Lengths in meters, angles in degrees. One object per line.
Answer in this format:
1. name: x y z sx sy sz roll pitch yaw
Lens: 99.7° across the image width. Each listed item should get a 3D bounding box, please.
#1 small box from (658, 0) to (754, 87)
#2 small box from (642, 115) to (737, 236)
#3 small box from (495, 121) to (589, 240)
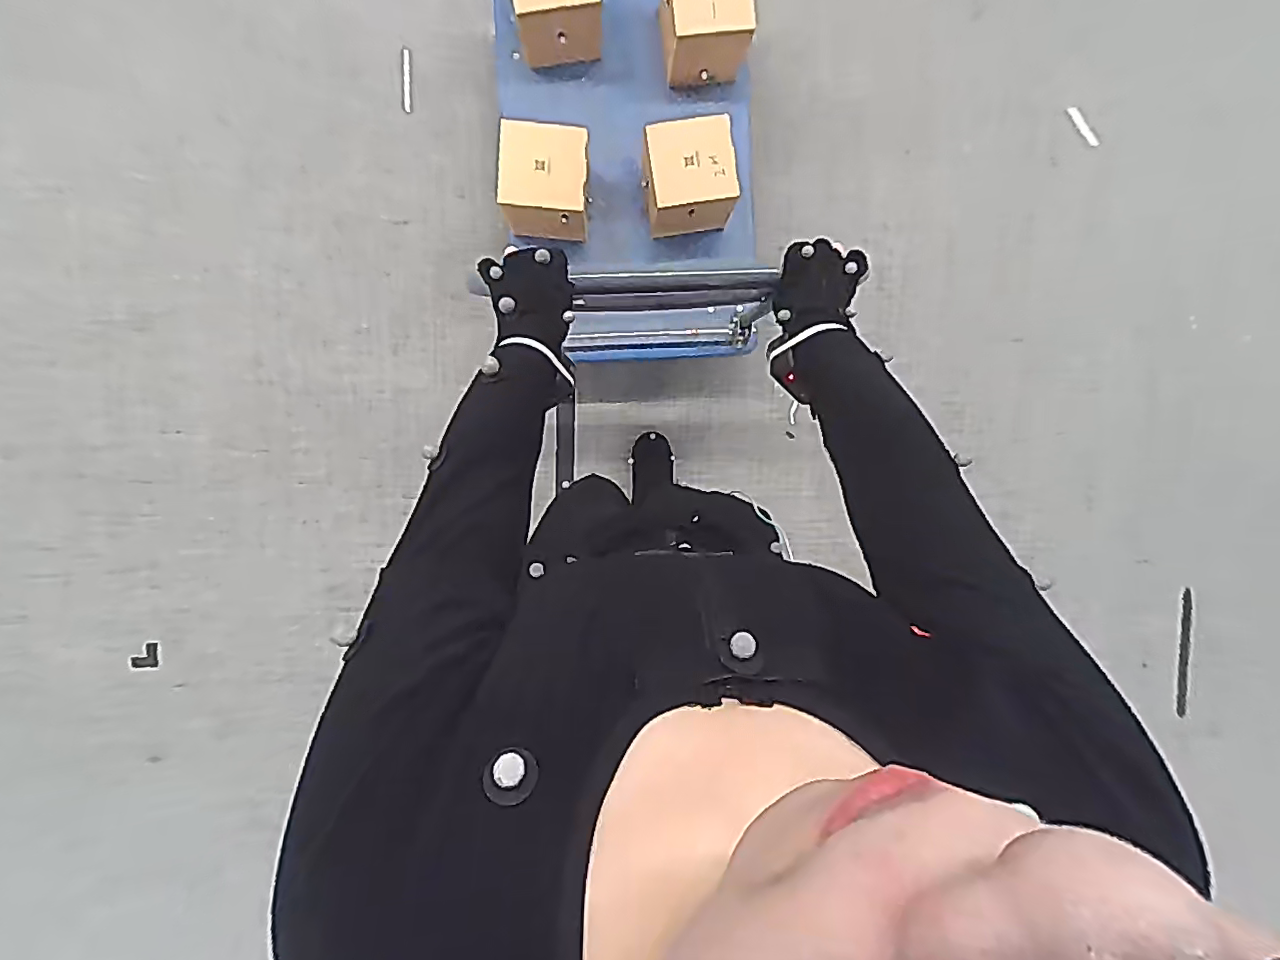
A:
1. small box: 0.134 -0.985 1.152 0.168 0.176 0.179 -7 96 -2
2. small box: 0.100 -0.651 1.176 0.179 0.176 0.168 -9 95 -2
3. small box: -0.205 -0.633 1.162 0.179 0.176 0.168 3 94 -5
